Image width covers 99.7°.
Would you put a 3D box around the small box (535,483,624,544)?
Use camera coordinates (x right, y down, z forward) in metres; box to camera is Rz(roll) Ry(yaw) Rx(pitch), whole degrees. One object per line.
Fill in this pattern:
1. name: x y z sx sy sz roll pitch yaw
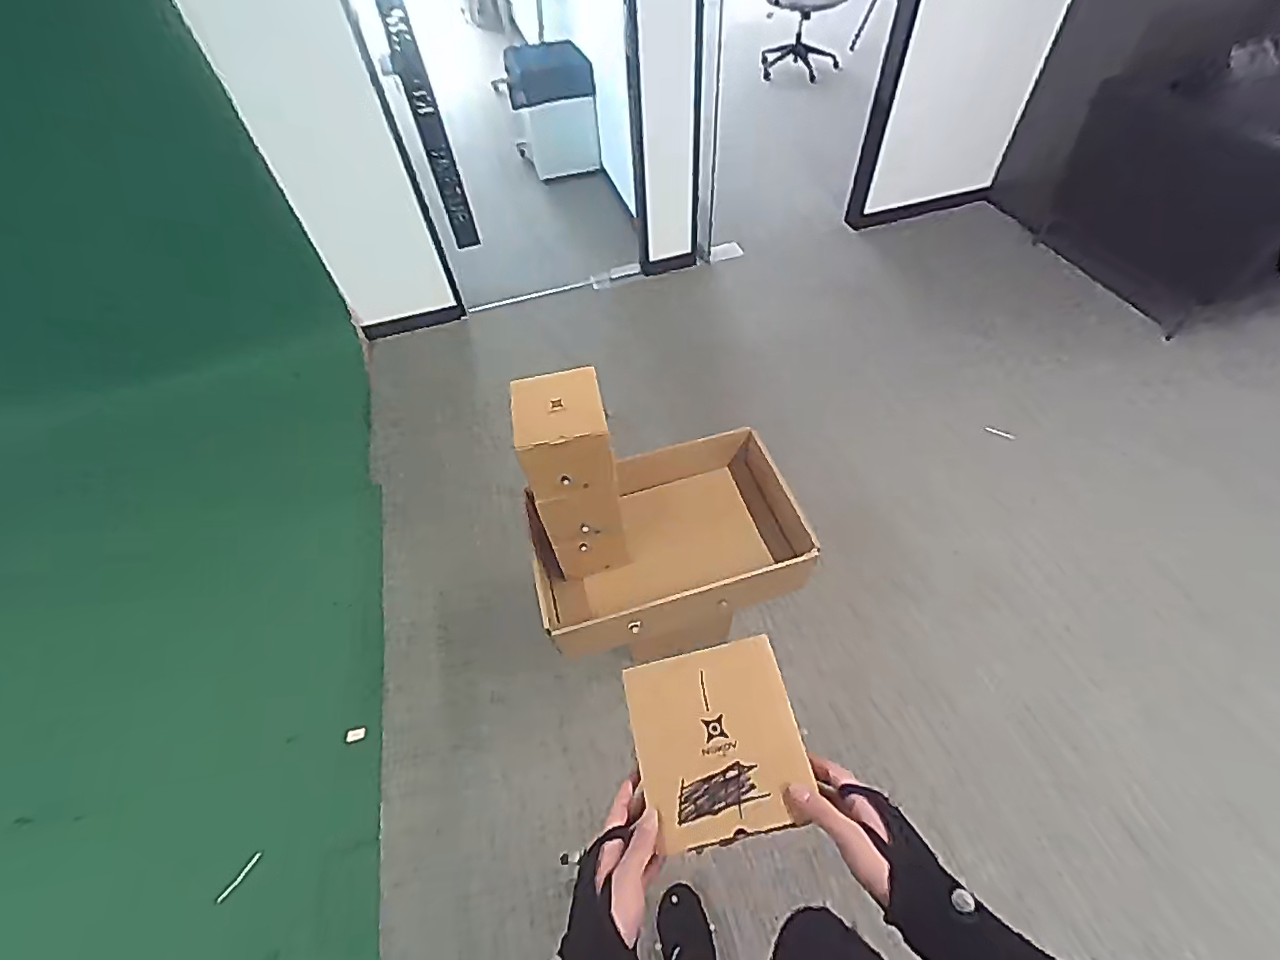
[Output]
1. small box: -0.135 0.012 1.175 0.168 0.176 0.179 -12 53 -4

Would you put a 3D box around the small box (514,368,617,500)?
1. small box: -0.142 -0.087 1.046 0.168 0.176 0.179 -11 54 -4

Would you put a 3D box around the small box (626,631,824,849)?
1. small box: 0.090 0.291 0.613 0.168 0.176 0.179 -13 59 1

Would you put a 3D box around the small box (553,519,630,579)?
1. small box: -0.126 0.111 1.305 0.168 0.176 0.179 -13 53 -6
